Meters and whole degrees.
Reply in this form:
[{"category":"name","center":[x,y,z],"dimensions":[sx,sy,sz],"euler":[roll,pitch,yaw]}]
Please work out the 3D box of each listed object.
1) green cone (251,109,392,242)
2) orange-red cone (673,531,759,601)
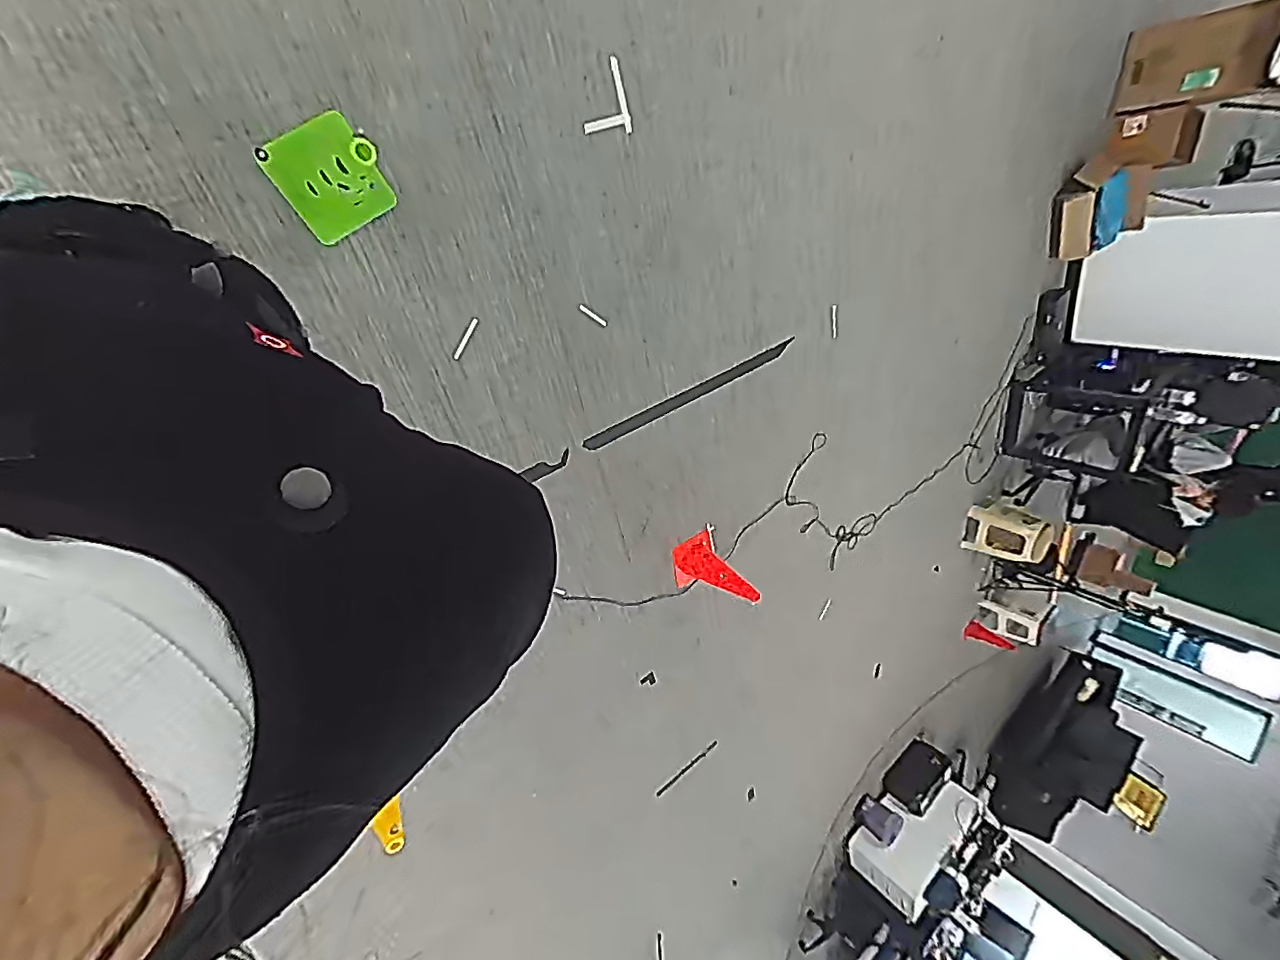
[{"category":"green cone","center":[-0.558,-0.589,1.013],"dimensions":[0.202,0.368,0.200],"euler":[-45,130,-18]},{"category":"orange-red cone","center":[0.315,0.373,2.091],"dimensions":[0.199,0.360,0.198],"euler":[-23,120,-29]}]
